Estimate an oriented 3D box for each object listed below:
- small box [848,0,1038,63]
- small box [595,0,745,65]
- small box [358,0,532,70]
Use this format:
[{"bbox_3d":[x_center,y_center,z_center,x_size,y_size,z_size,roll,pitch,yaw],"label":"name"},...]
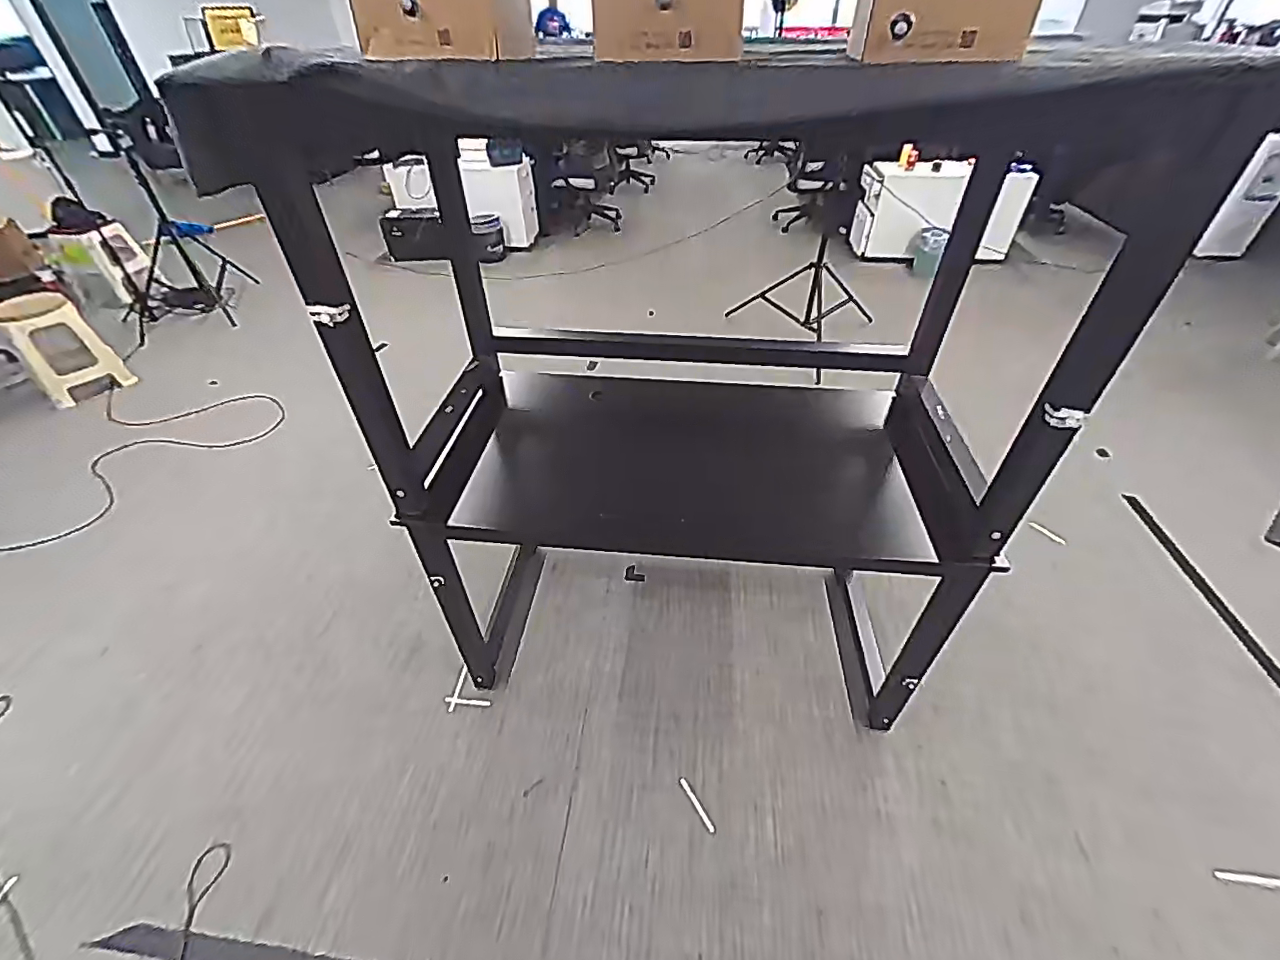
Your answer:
[{"bbox_3d":[0.338,-0.569,0.595,0.168,0.176,0.179,6,40,9],"label":"small box"},{"bbox_3d":[0.040,-0.586,0.618,0.168,0.176,0.179,4,39,6],"label":"small box"},{"bbox_3d":[-0.231,-0.601,0.642,0.168,0.176,0.179,4,40,4],"label":"small box"}]
